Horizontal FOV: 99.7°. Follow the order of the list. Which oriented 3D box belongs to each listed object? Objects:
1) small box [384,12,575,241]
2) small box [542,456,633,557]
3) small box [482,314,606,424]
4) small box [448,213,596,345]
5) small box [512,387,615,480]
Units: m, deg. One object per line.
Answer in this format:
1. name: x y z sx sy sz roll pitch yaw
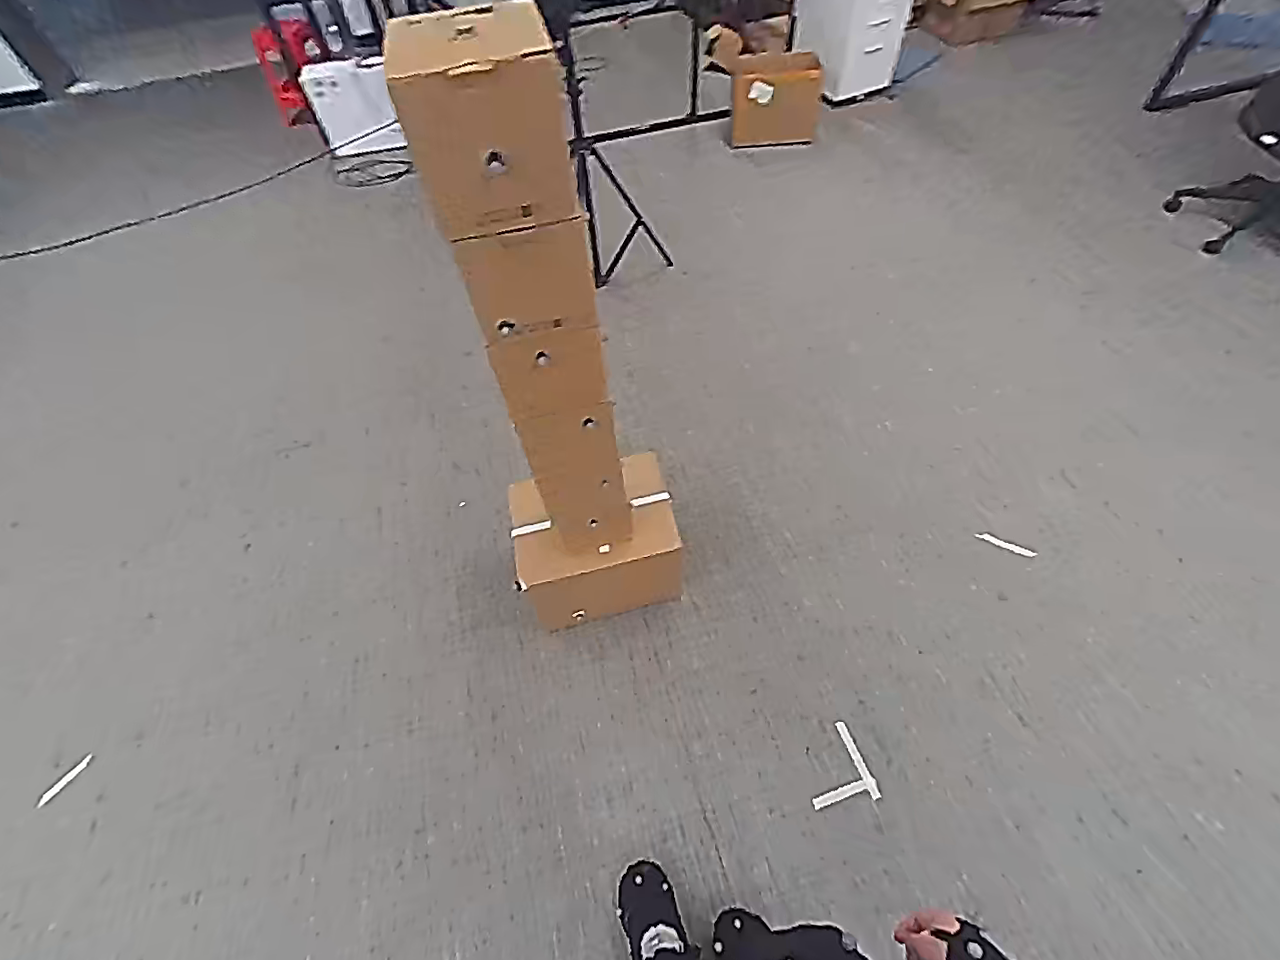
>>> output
1. small box: -0.179 -0.402 0.634 0.168 0.176 0.179 -13 57 -5
2. small box: -0.124 0.066 1.303 0.179 0.176 0.168 -15 56 -7
3. small box: -0.156 -0.217 0.904 0.179 0.176 0.168 -12 56 -4
4. small box: -0.164 -0.312 0.770 0.168 0.176 0.179 -12 55 -4
5. small box: -0.146 -0.123 1.035 0.179 0.176 0.168 -12 55 -5
